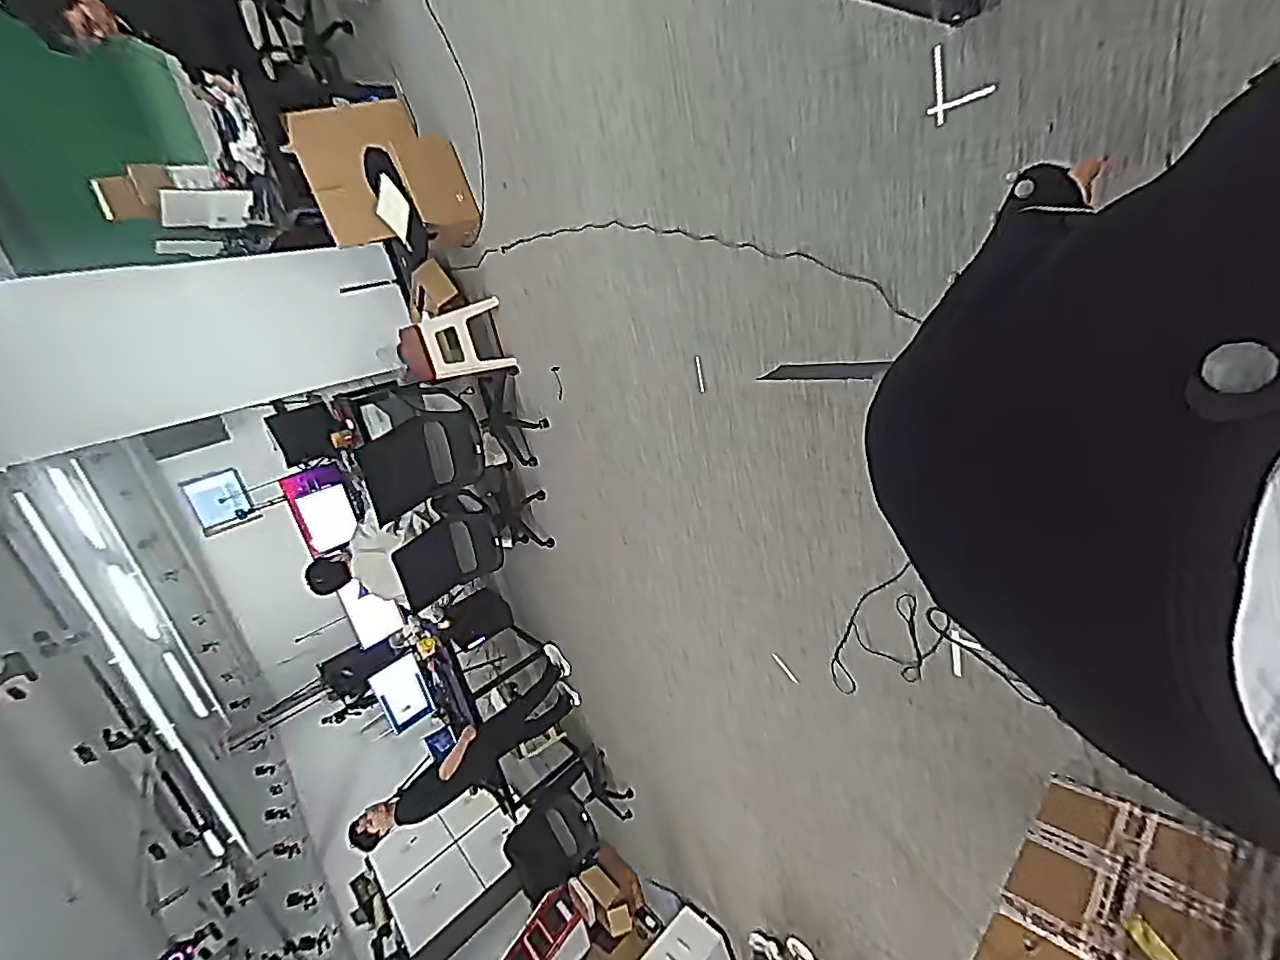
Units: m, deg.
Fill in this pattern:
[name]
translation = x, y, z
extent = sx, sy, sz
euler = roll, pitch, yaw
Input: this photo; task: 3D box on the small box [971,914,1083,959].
[small box]
translation = 0.912, 1.178, 1.266
extent = 0.179, 0.176, 0.168
euler = 0, 108, 53
